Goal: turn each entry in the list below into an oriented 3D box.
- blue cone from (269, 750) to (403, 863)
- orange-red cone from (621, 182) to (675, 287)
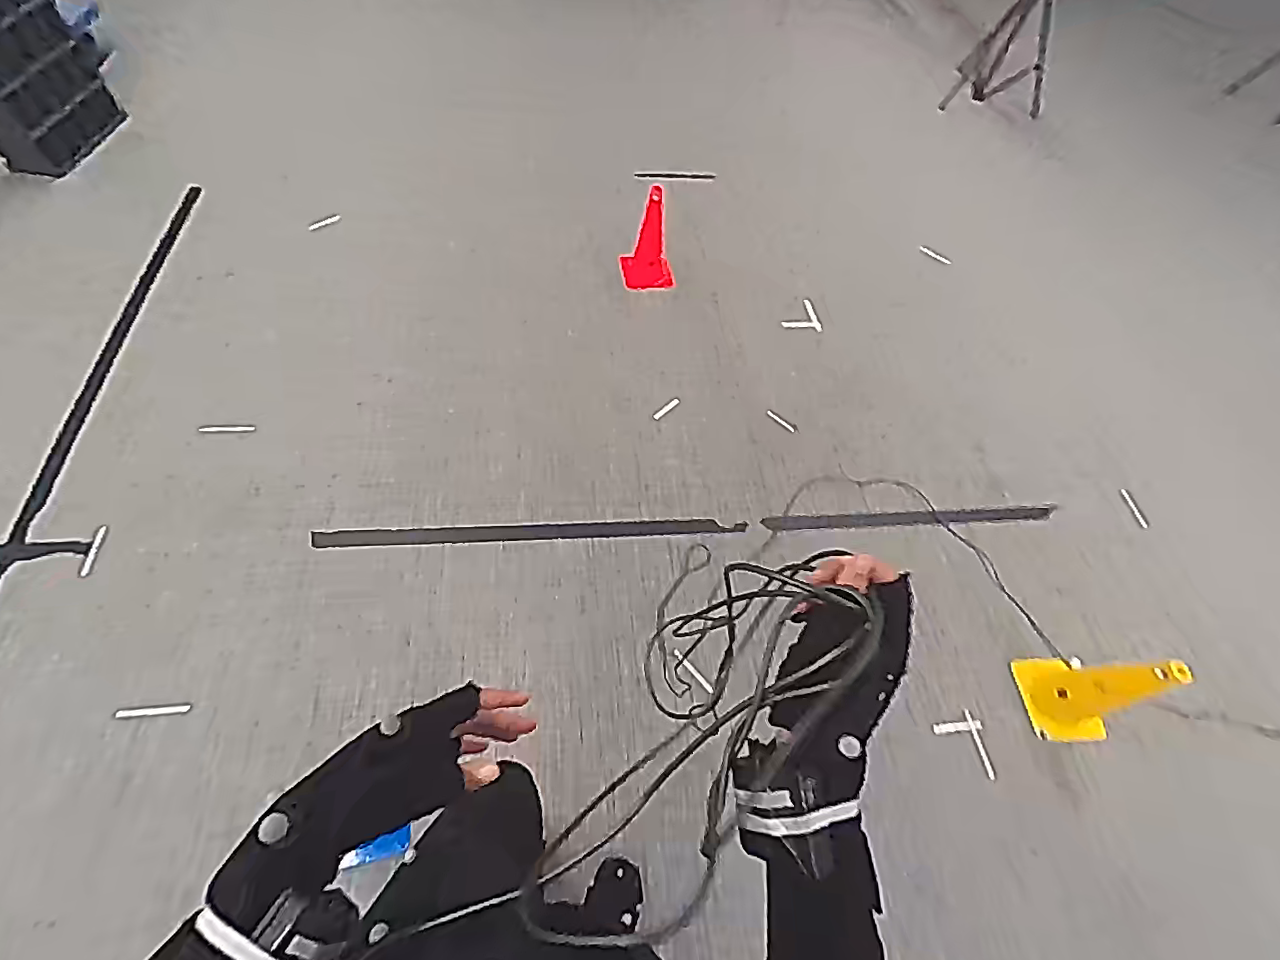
[{"bbox_3d":[-0.601,0.624,1.036,0.193,0.380,0.192,-6,60,-10],"label":"blue cone"},{"bbox_3d":[0.045,-0.935,2.028,0.199,0.360,0.198,-6,60,-8],"label":"orange-red cone"}]
